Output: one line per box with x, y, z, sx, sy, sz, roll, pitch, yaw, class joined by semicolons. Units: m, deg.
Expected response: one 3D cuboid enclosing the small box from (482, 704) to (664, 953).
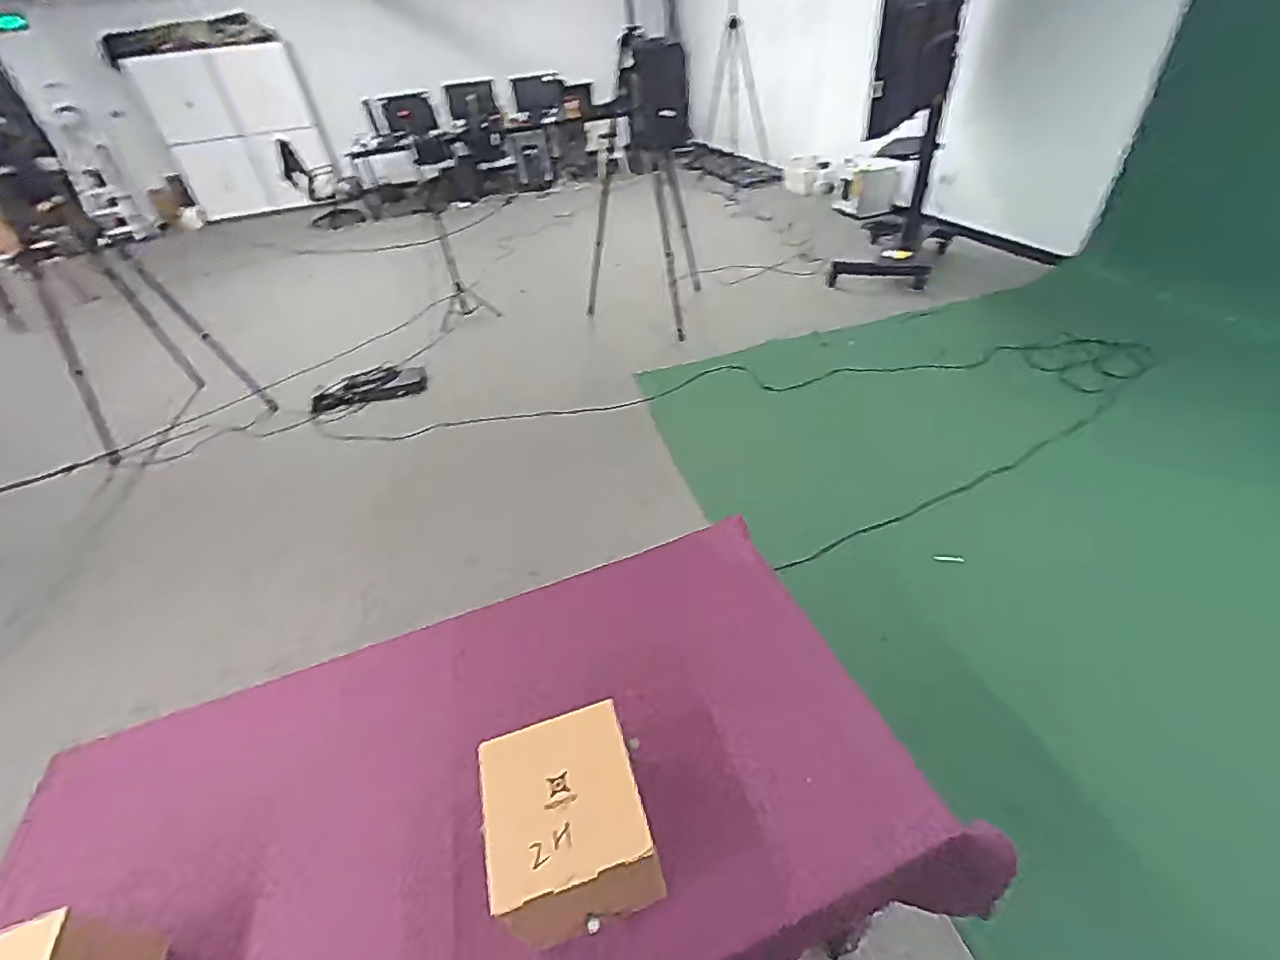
-0.078;0.407;0.638;0.168;0.176;0.179;-16;41;-9;small box
